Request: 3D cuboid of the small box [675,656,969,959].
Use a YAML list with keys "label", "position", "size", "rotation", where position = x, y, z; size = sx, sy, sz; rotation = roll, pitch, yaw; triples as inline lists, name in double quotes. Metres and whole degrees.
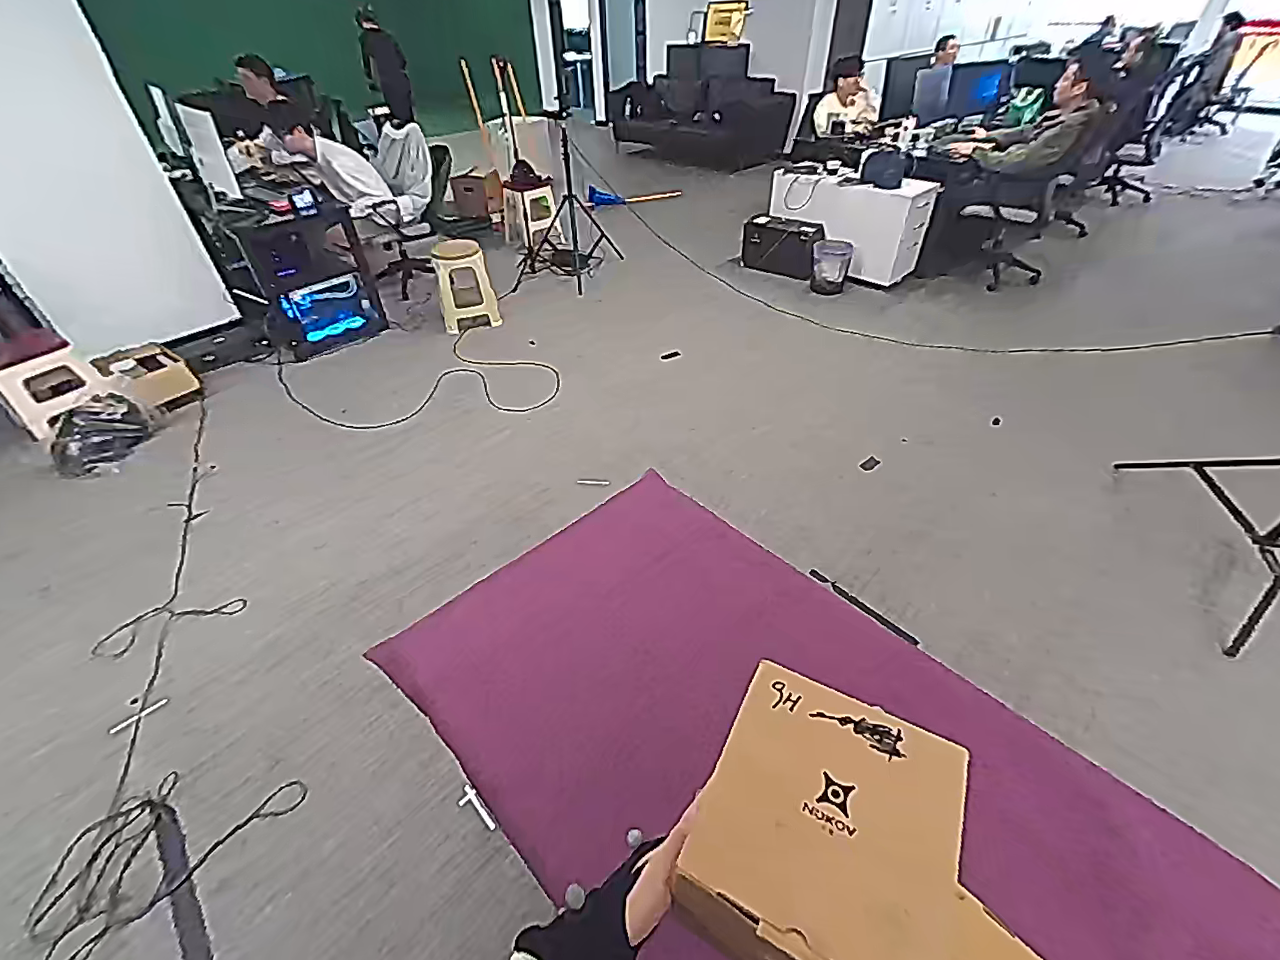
- label: "small box"
  position: [0.139, 0.287, 0.438]
  size: [0.168, 0.176, 0.179]
  rotation: [19, 47, 22]
